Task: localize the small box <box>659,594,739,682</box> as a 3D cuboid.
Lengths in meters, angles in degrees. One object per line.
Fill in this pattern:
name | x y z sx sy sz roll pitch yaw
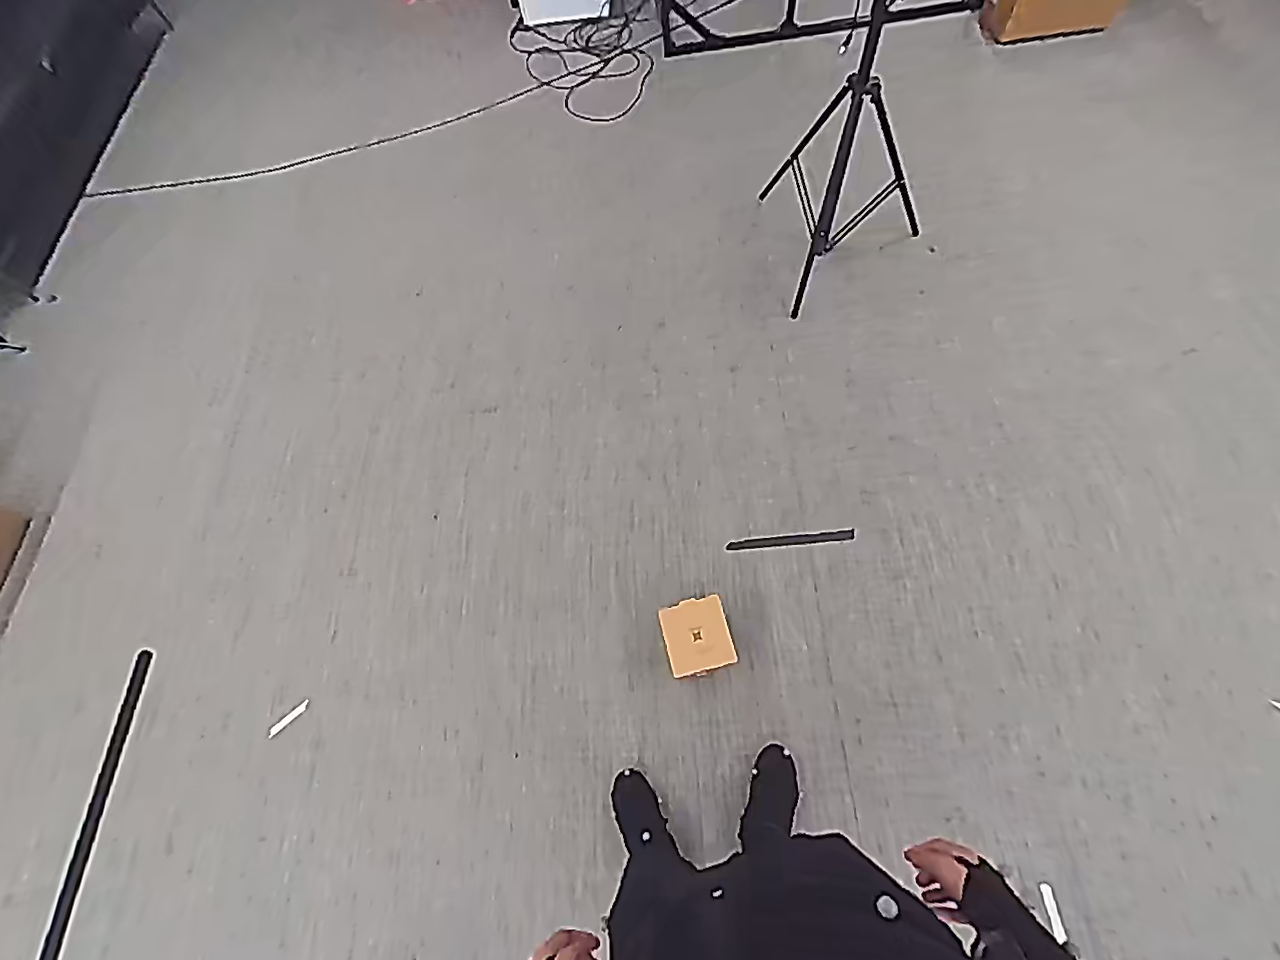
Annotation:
small box | 0.154 0.419 1.424 0.168 0.176 0.179 -15 65 1
